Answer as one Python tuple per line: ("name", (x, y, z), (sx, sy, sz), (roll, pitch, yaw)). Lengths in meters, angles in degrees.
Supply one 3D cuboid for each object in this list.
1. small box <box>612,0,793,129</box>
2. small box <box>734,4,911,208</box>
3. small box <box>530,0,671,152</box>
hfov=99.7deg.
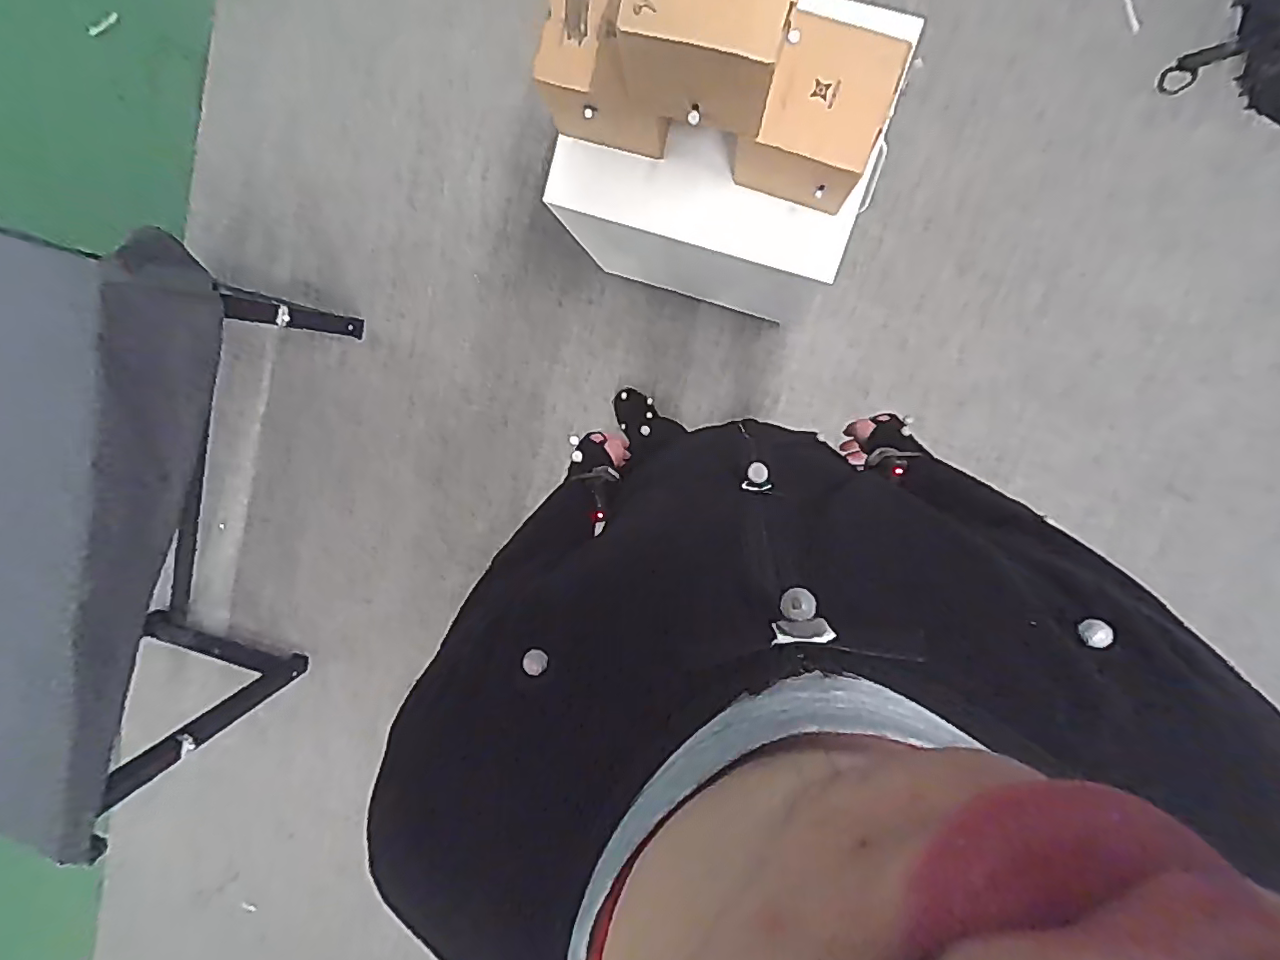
("small box", (0.082, -0.538, 0.619), (0.179, 0.176, 0.168), (16, 101, 3))
("small box", (0.244, -0.513, 0.771), (0.179, 0.176, 0.168), (20, 100, 5))
("small box", (-0.037, -0.611, 0.786), (0.179, 0.176, 0.168), (16, 102, 2))
